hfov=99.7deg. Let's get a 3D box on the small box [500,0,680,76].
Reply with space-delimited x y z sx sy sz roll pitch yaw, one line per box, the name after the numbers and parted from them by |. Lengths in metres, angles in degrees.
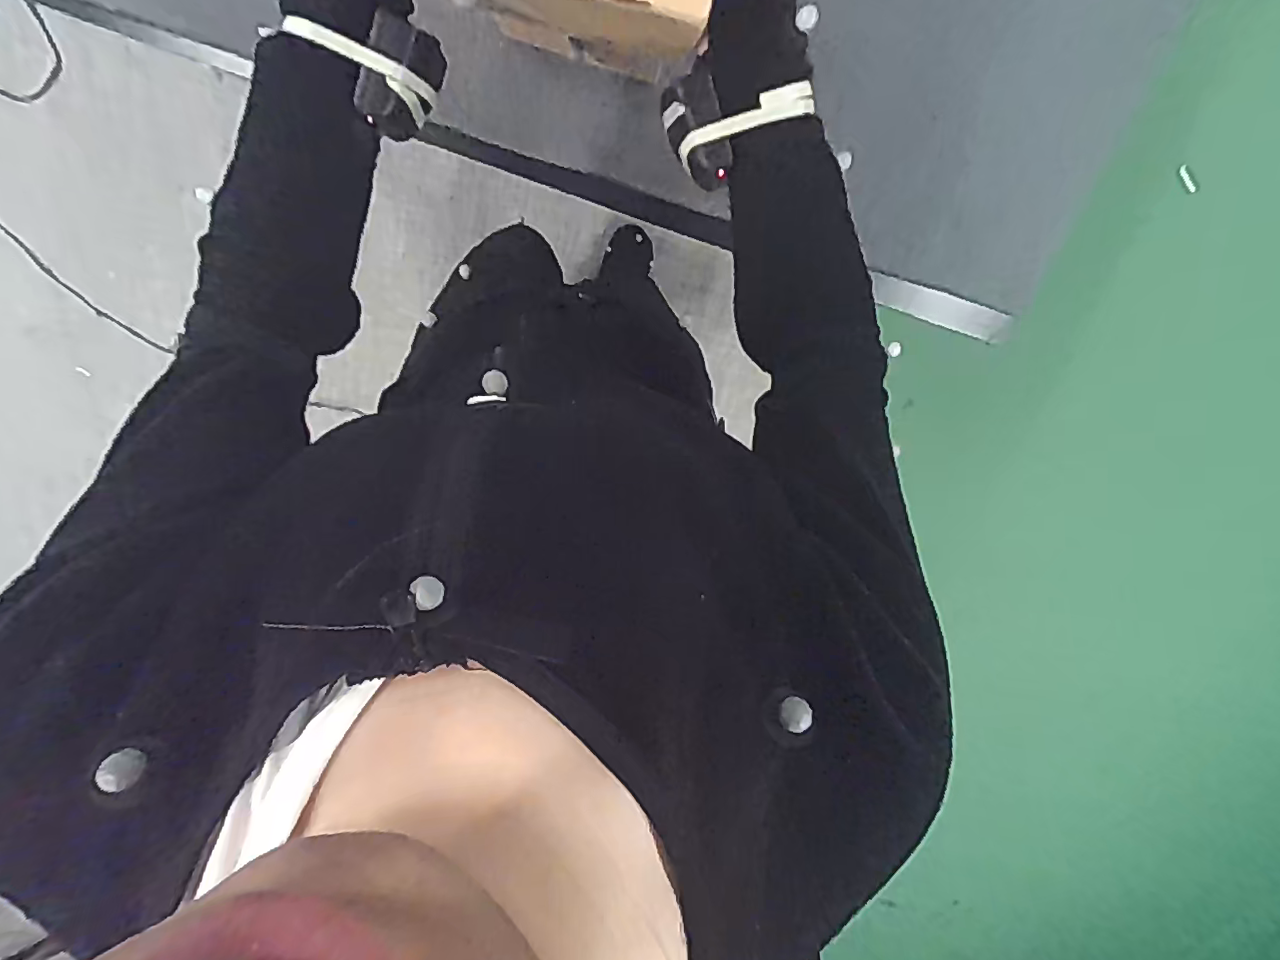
-0.034 -0.485 0.453 0.168 0.176 0.179 12 111 -7 | small box
